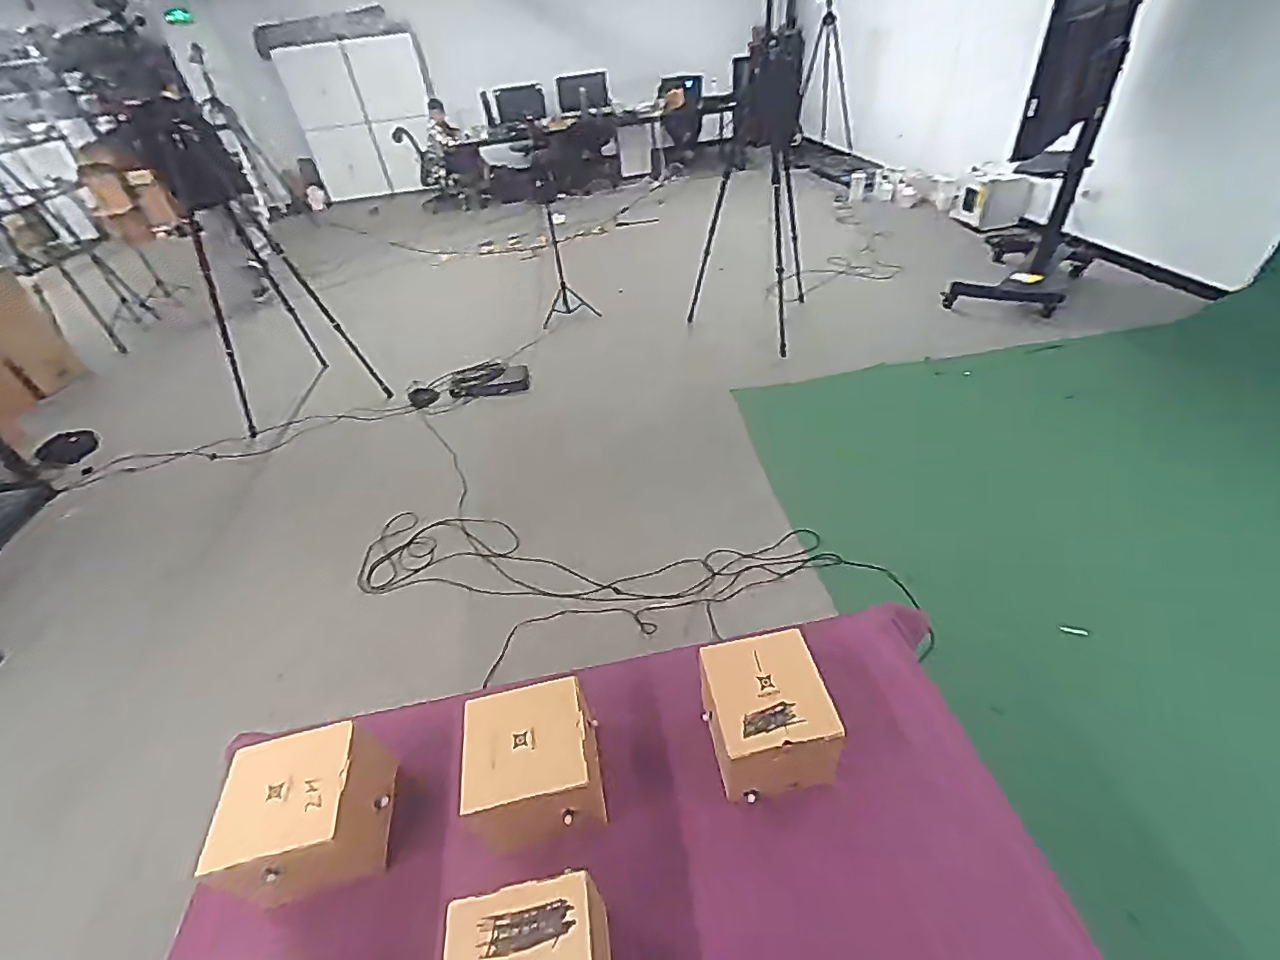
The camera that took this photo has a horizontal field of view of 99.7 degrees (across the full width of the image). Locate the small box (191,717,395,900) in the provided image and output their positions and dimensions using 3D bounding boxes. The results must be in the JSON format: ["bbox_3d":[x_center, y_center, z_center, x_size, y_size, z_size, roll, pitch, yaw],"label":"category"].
[{"bbox_3d":[-0.492,0.488,0.800,0.179,0.176,0.168,-13,41,-6],"label":"small box"}]

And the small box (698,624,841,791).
[{"bbox_3d":[0.192,0.357,0.838,0.168,0.176,0.179,-11,40,-2],"label":"small box"}]

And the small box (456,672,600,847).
[{"bbox_3d":[-0.161,0.425,0.822,0.179,0.176,0.168,-12,40,-4],"label":"small box"}]
